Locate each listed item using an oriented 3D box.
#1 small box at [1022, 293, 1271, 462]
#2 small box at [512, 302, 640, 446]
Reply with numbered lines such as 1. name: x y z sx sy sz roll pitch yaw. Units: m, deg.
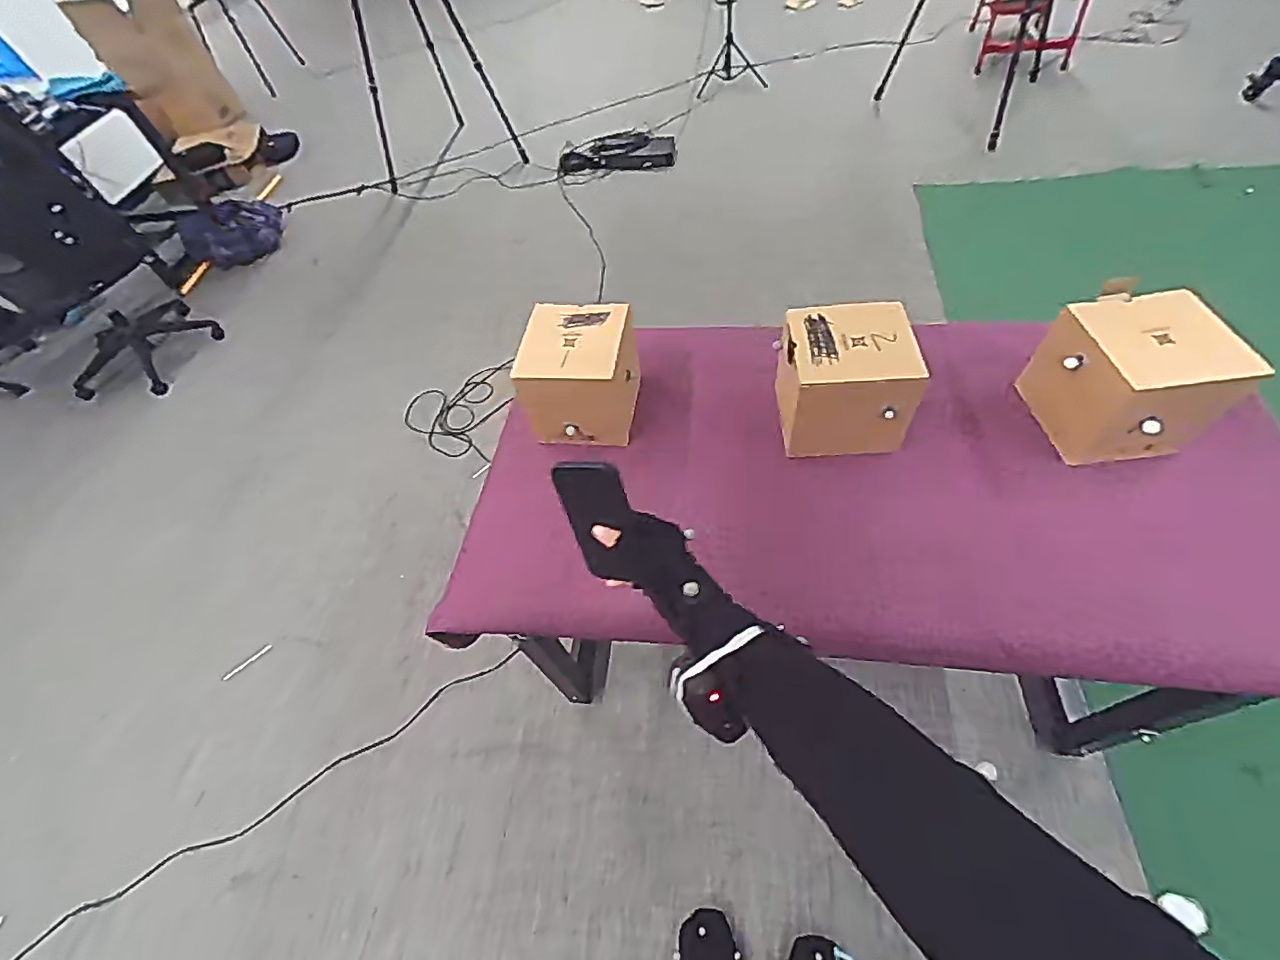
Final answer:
1. small box: 0.704 -0.139 0.783 0.168 0.176 0.179 -7 54 4
2. small box: -0.096 -0.180 0.925 0.168 0.176 0.179 3 57 10
